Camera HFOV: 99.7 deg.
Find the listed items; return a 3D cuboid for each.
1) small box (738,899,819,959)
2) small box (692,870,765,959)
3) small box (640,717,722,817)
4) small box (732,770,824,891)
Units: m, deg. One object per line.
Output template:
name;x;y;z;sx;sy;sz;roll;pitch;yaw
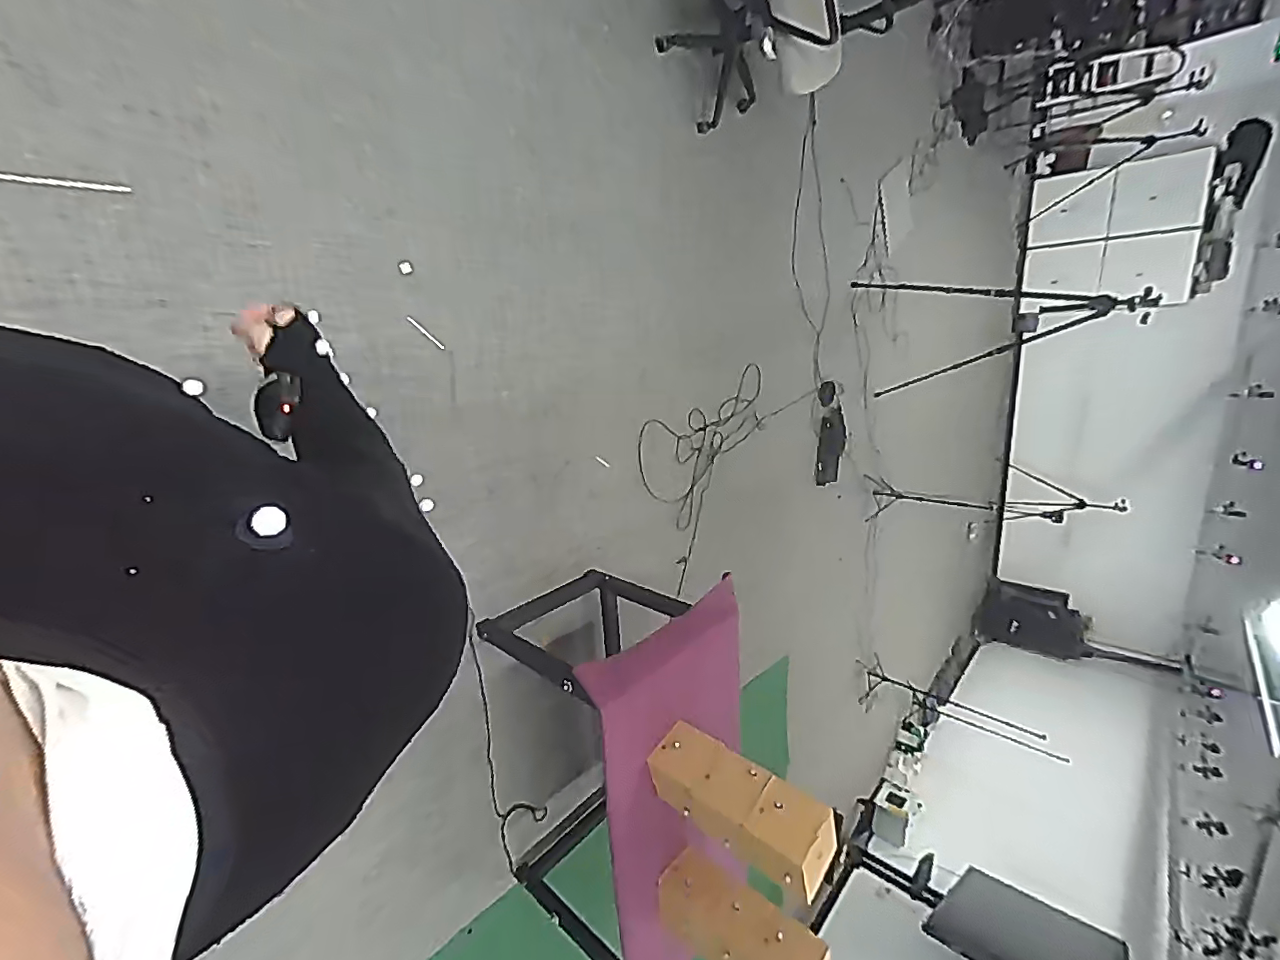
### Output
small box;0.393;1.358;1.535;0.168;0.176;0.179;-20;111;-45
small box;0.268;1.337;1.641;0.168;0.176;0.179;-18;109;-45
small box;0.123;0.856;1.630;0.168;0.176;0.179;-36;123;-39
small box;0.362;0.904;1.412;0.168;0.176;0.179;-37;123;-38
